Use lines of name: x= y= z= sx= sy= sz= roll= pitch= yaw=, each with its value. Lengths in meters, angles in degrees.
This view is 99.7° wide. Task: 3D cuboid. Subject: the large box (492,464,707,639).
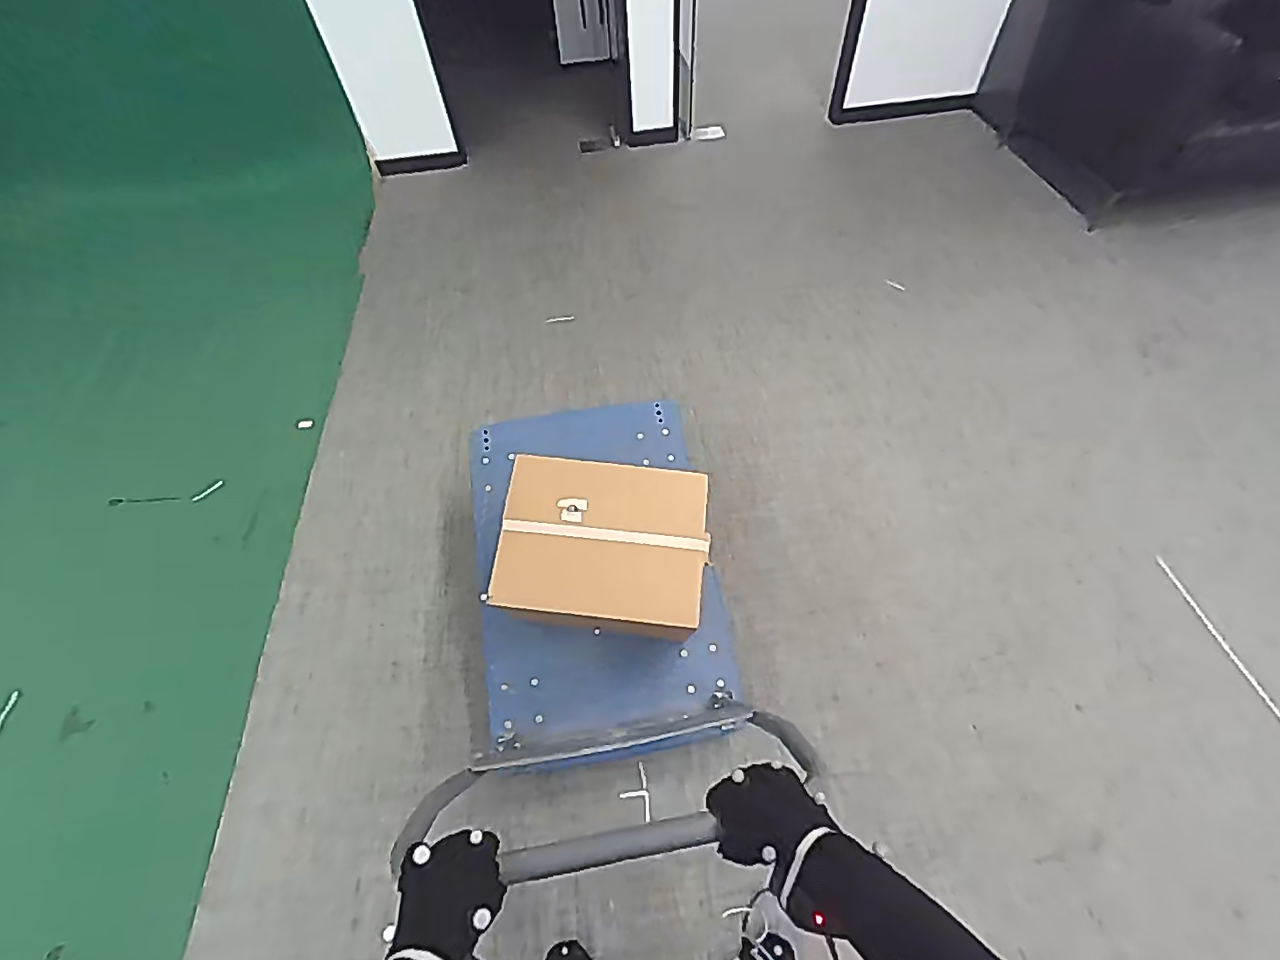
large box: x=-0.065 y=0.173 z=1.202 sx=0.408 sy=0.320 sz=0.320 roll=5 pitch=69 yaw=3
